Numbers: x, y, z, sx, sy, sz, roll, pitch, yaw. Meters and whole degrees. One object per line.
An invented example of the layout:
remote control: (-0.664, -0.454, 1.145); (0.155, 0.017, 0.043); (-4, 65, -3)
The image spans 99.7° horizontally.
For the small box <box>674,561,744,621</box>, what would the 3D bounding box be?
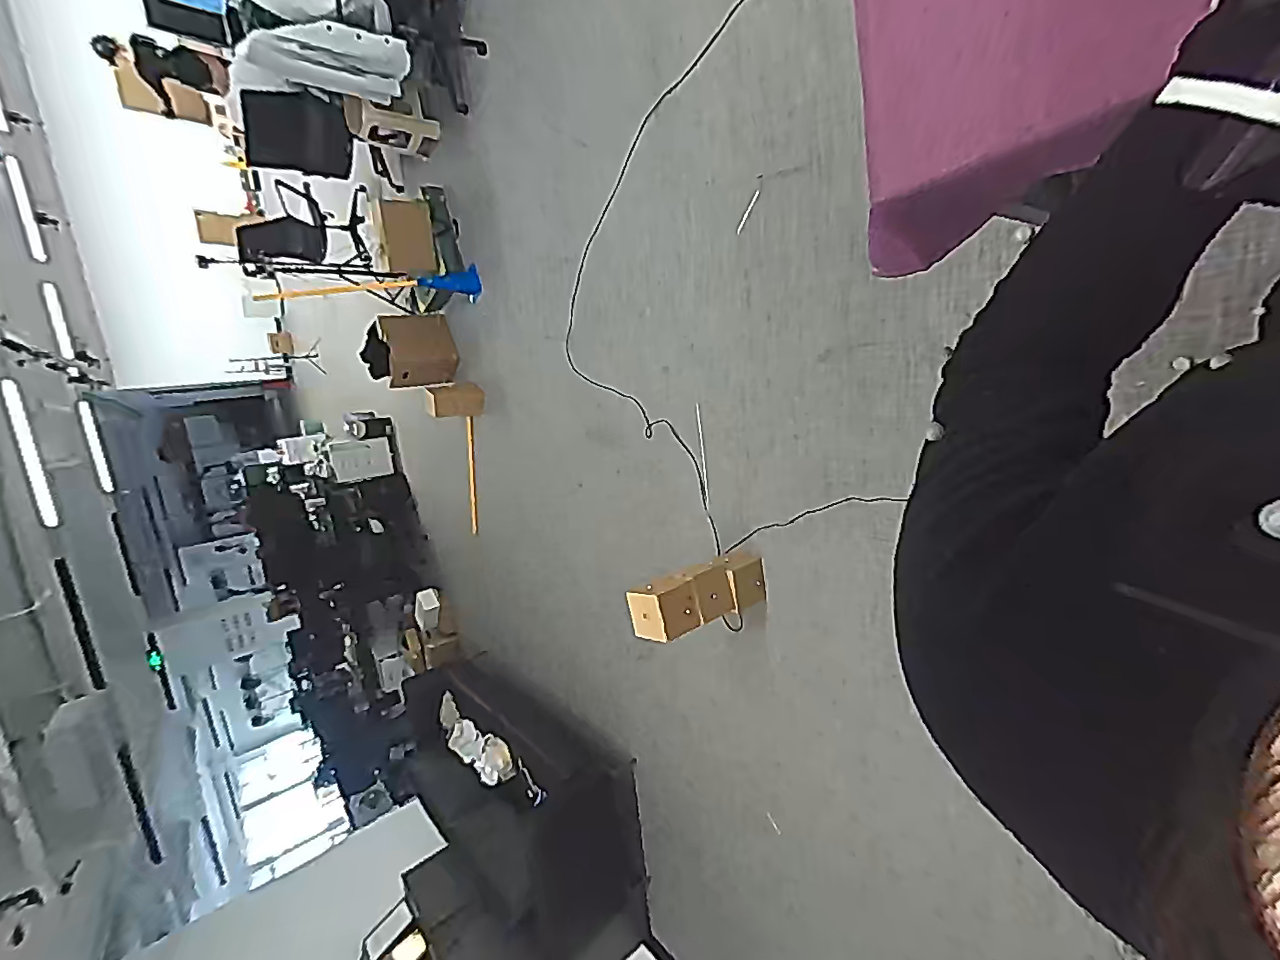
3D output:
small box: (0.256, 0.404, 2.001); (0.168, 0.176, 0.179); (-15, 90, 54)

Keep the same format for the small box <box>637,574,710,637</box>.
small box: (0.120, 0.438, 1.917); (0.179, 0.176, 0.168); (-10, 94, 53)
